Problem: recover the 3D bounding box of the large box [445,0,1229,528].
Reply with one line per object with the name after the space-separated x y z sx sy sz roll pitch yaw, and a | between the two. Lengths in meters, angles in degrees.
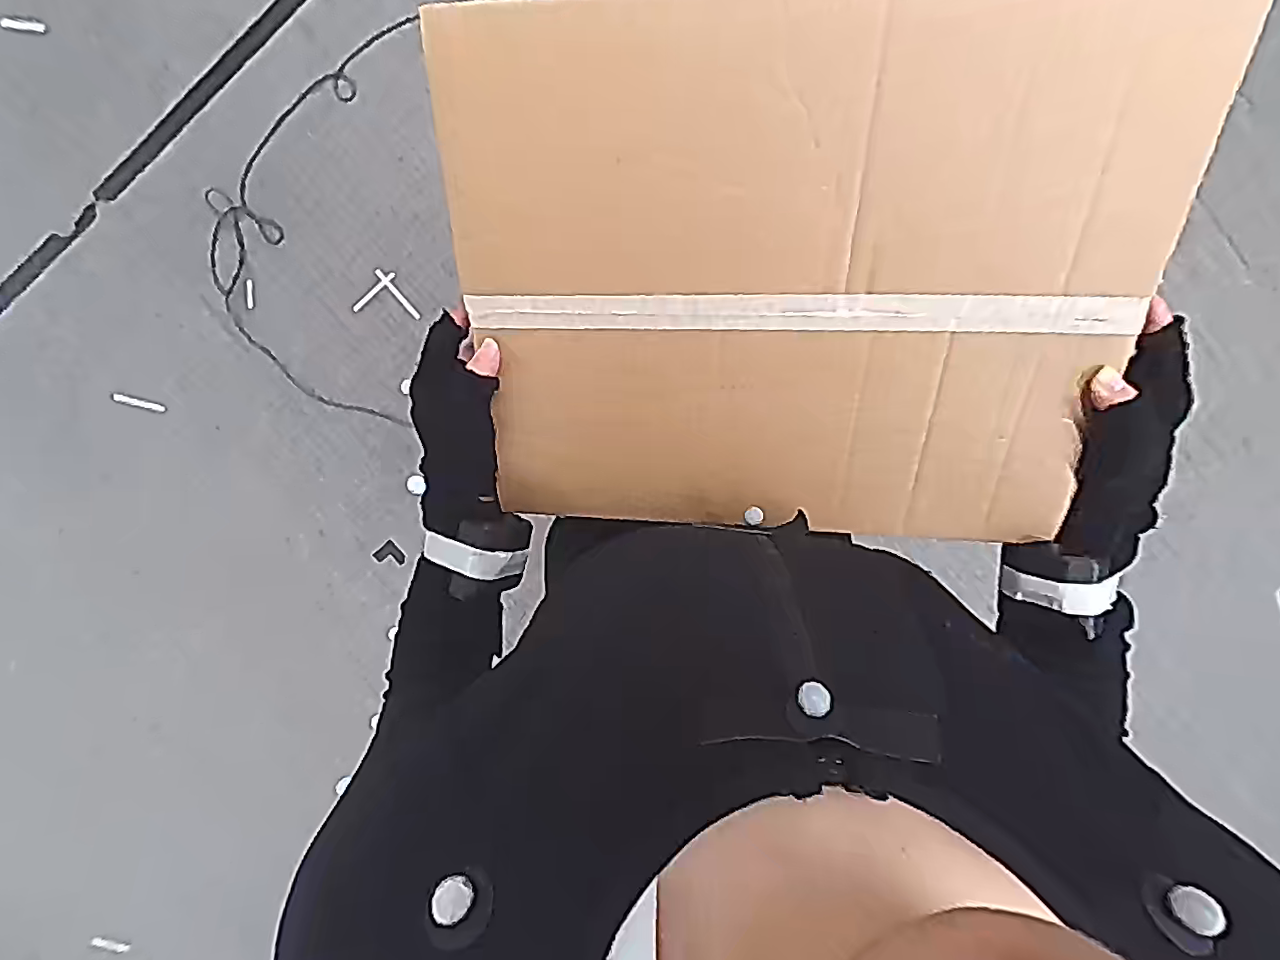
0.105 -0.174 0.479 0.408 0.320 0.320 3 119 7 | large box
